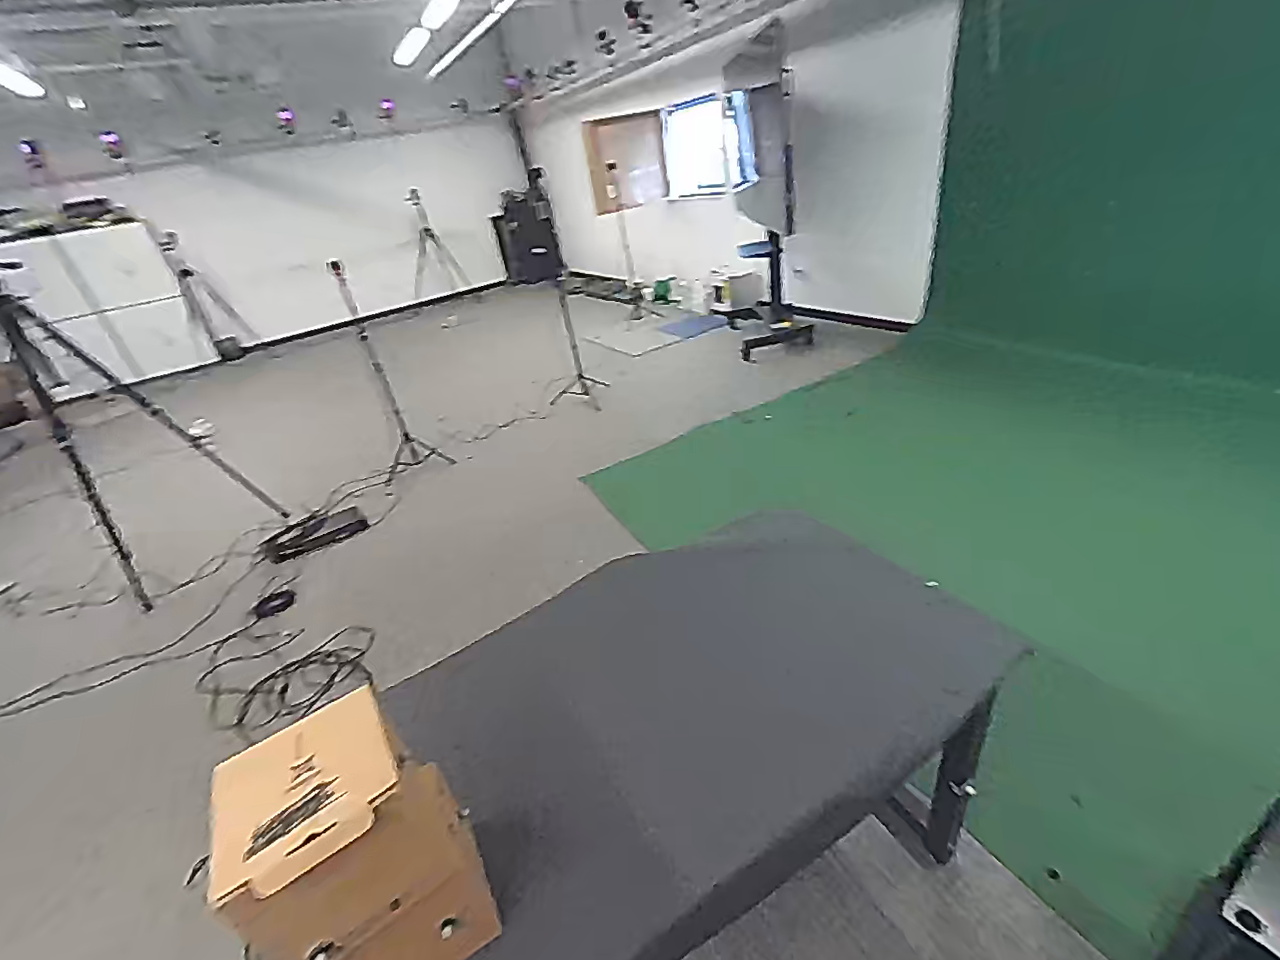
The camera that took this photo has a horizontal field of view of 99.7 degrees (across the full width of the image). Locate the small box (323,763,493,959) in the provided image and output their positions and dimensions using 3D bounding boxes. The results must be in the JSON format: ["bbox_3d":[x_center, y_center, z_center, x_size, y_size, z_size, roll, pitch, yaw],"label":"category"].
[{"bbox_3d":[-0.302,0.515,0.685,0.179,0.176,0.168,-26,31,-22],"label":"small box"}]

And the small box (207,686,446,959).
[{"bbox_3d":[-0.338,0.379,0.599,0.168,0.176,0.179,-27,31,-26],"label":"small box"}]
